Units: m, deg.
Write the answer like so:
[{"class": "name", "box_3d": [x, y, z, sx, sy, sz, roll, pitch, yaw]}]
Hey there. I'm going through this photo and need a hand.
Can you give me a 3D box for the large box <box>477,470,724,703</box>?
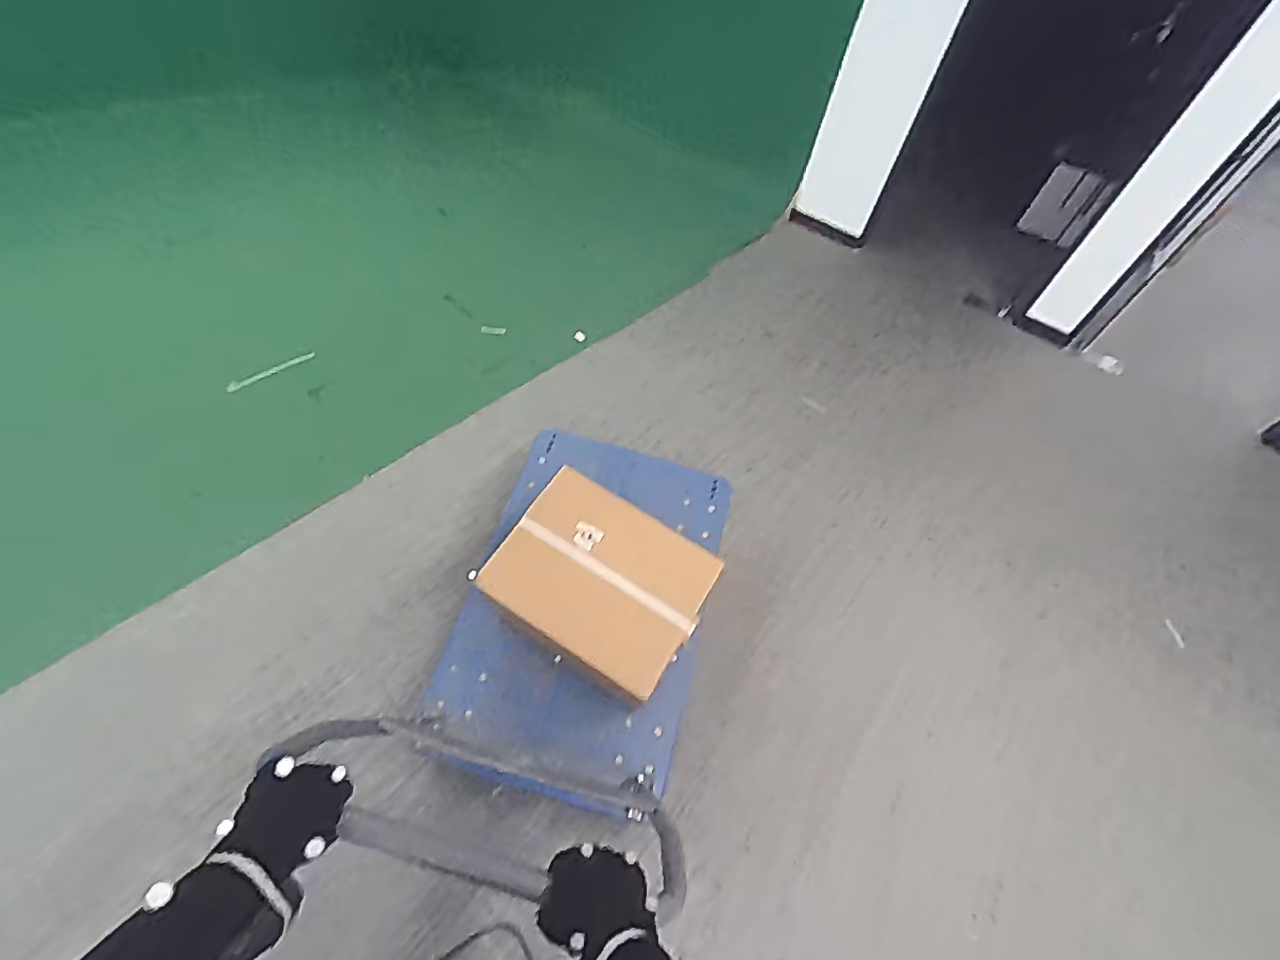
[{"class": "large box", "box_3d": [-0.077, 0.249, 1.208, 0.408, 0.320, 0.320, 30, 66, 12]}]
